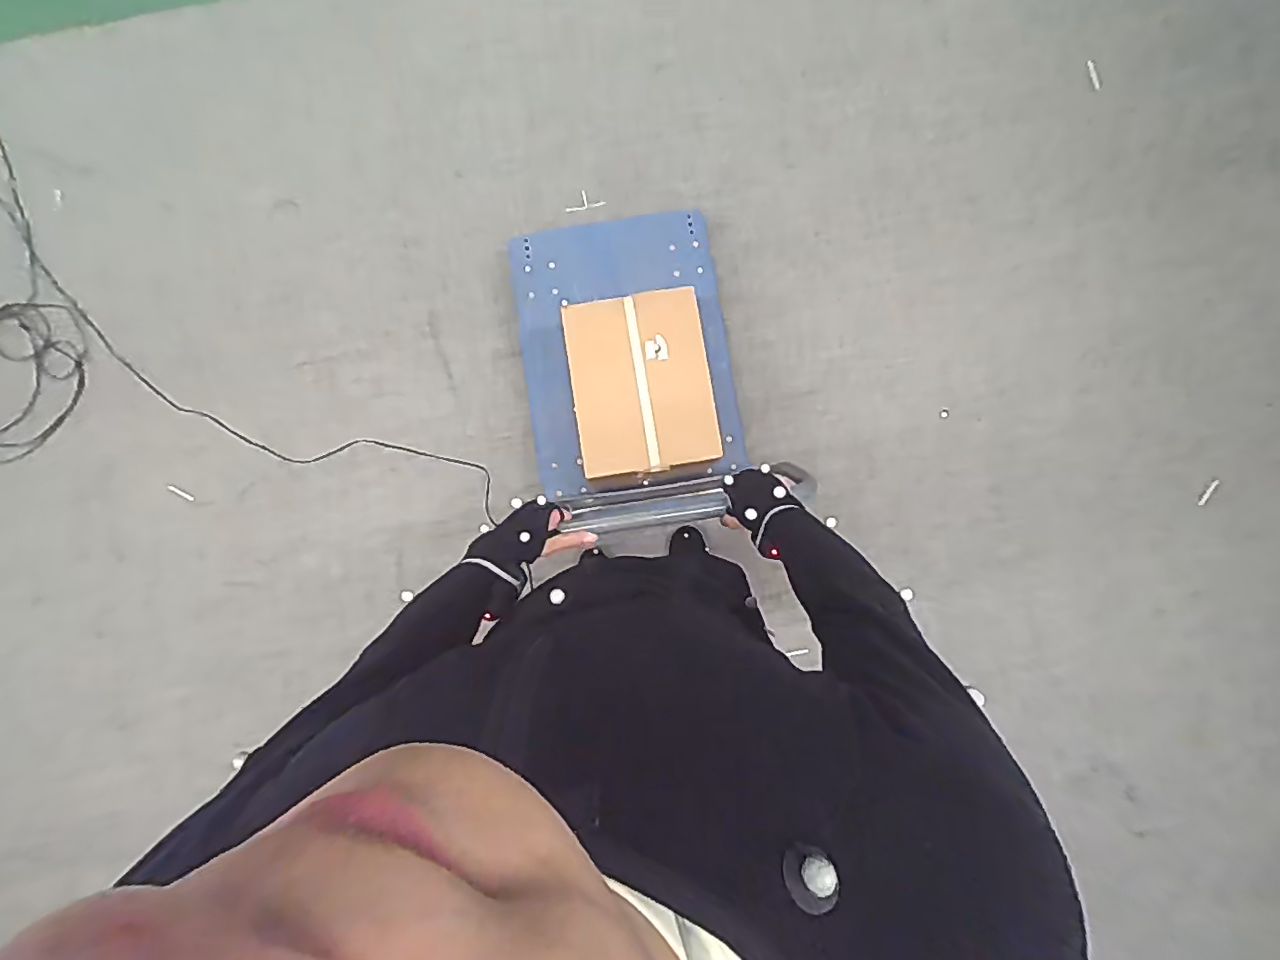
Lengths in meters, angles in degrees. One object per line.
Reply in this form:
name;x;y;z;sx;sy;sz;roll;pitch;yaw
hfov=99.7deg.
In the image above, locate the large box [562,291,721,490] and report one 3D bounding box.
large box;0.005;-0.205;1.379;0.320;0.320;0.408;-9;83;-1
